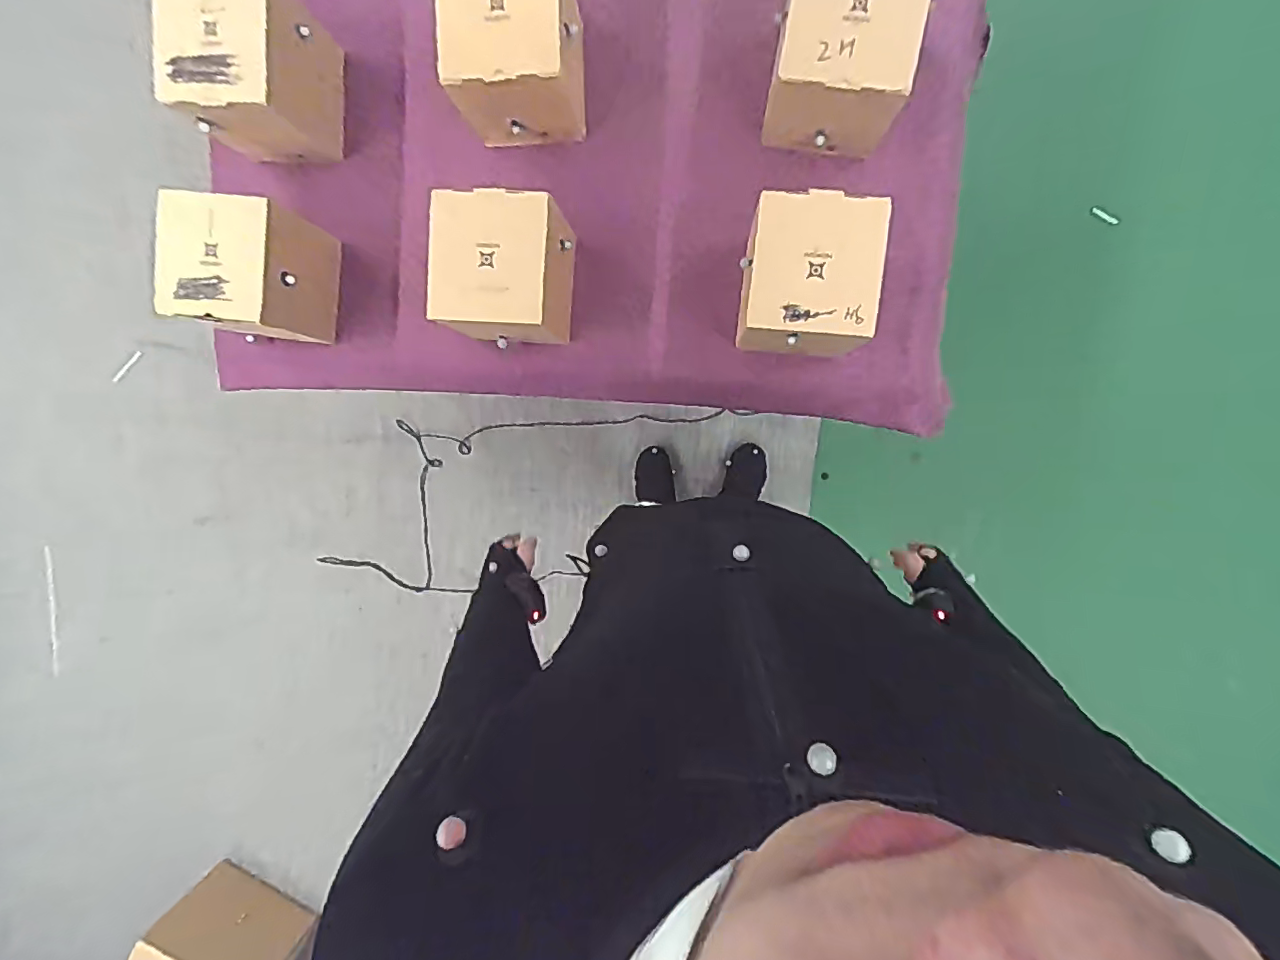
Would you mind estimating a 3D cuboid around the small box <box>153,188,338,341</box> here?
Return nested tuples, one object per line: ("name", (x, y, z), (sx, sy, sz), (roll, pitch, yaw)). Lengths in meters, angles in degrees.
("small box", (-0.597, -0.320, 0.837), (0.168, 0.176, 0.179), (7, 95, 4))

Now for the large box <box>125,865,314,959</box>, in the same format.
("large box", (-1.396, 1.584, 1.771), (0.408, 0.320, 0.320), (28, 98, 0))

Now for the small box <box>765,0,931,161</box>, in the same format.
("small box", (0.274, -0.576, 0.740), (0.168, 0.176, 0.179), (10, 97, 5))

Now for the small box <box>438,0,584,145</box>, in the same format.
("small box", (-0.176, -0.616, 0.776), (0.168, 0.176, 0.179), (0, 97, 4))

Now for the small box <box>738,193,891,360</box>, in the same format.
("small box", (0.236, -0.279, 0.773), (0.168, 0.176, 0.179), (6, 94, 5))

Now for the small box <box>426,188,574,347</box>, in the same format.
("small box", (-0.199, -0.306, 0.809), (0.168, 0.176, 0.179), (5, 95, 5))
